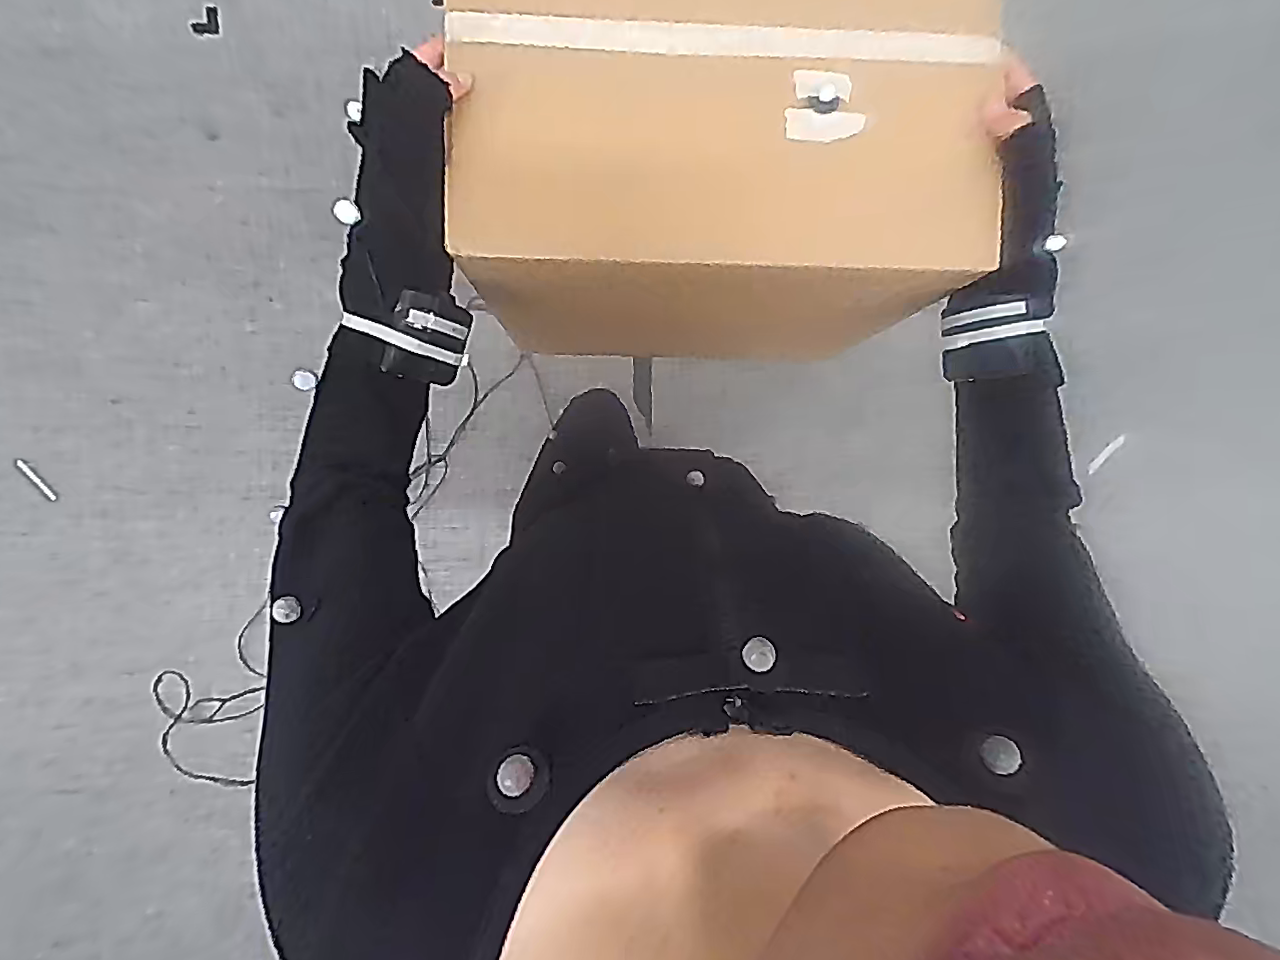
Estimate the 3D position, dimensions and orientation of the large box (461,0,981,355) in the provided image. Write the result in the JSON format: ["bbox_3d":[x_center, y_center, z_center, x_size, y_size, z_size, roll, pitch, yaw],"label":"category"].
[{"bbox_3d":[0.056,-0.319,0.558,0.408,0.320,0.320,0,90,-3],"label":"large box"}]
